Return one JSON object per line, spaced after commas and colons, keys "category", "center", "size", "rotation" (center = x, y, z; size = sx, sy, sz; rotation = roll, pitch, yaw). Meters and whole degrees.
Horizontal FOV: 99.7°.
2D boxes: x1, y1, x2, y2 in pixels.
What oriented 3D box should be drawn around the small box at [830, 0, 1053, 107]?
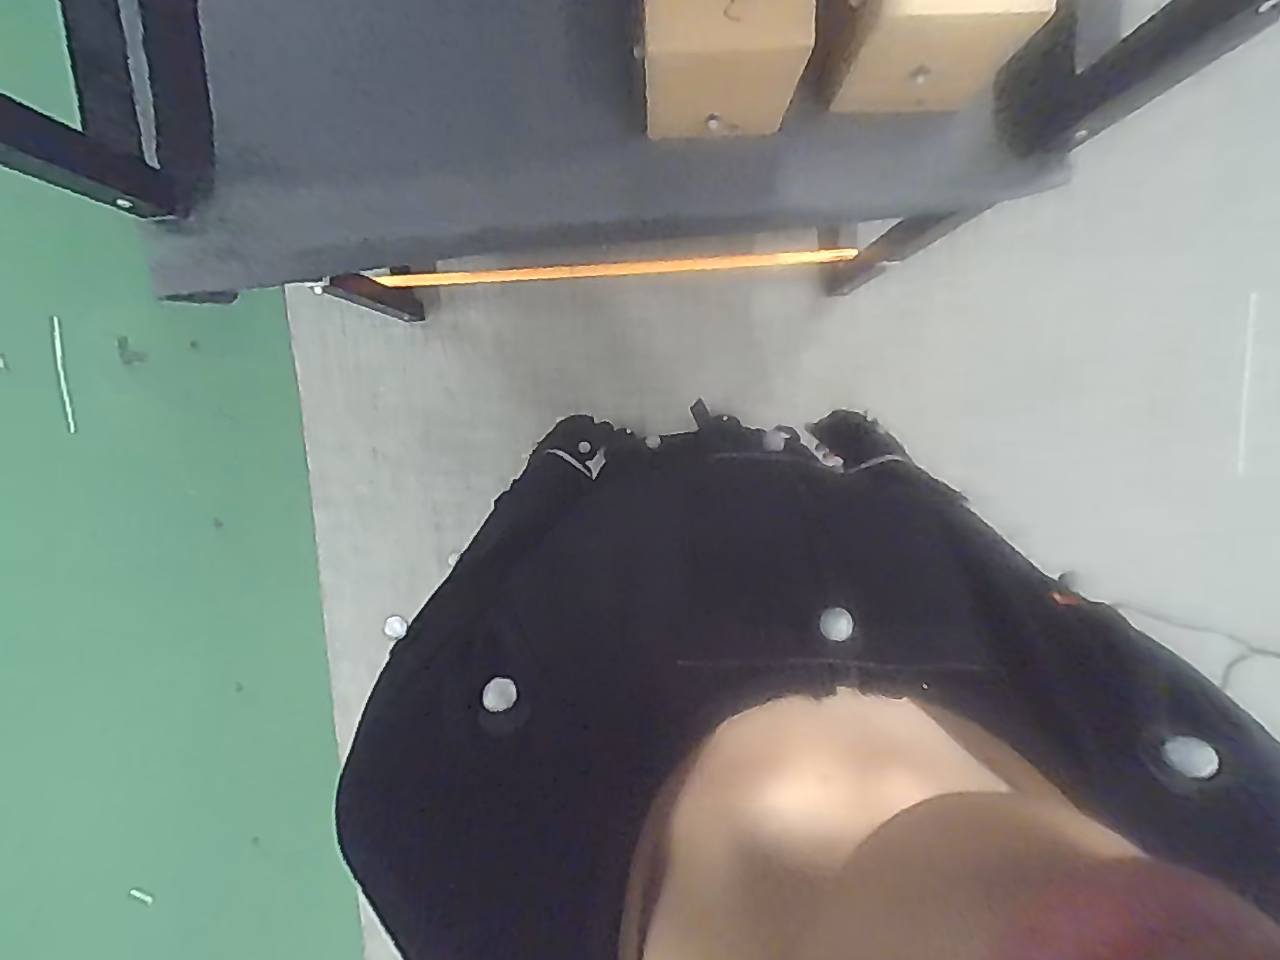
{"category": "small box", "center": [0.317, -0.539, 0.589], "size": [0.168, 0.176, 0.179], "rotation": [1, 96, 2]}
